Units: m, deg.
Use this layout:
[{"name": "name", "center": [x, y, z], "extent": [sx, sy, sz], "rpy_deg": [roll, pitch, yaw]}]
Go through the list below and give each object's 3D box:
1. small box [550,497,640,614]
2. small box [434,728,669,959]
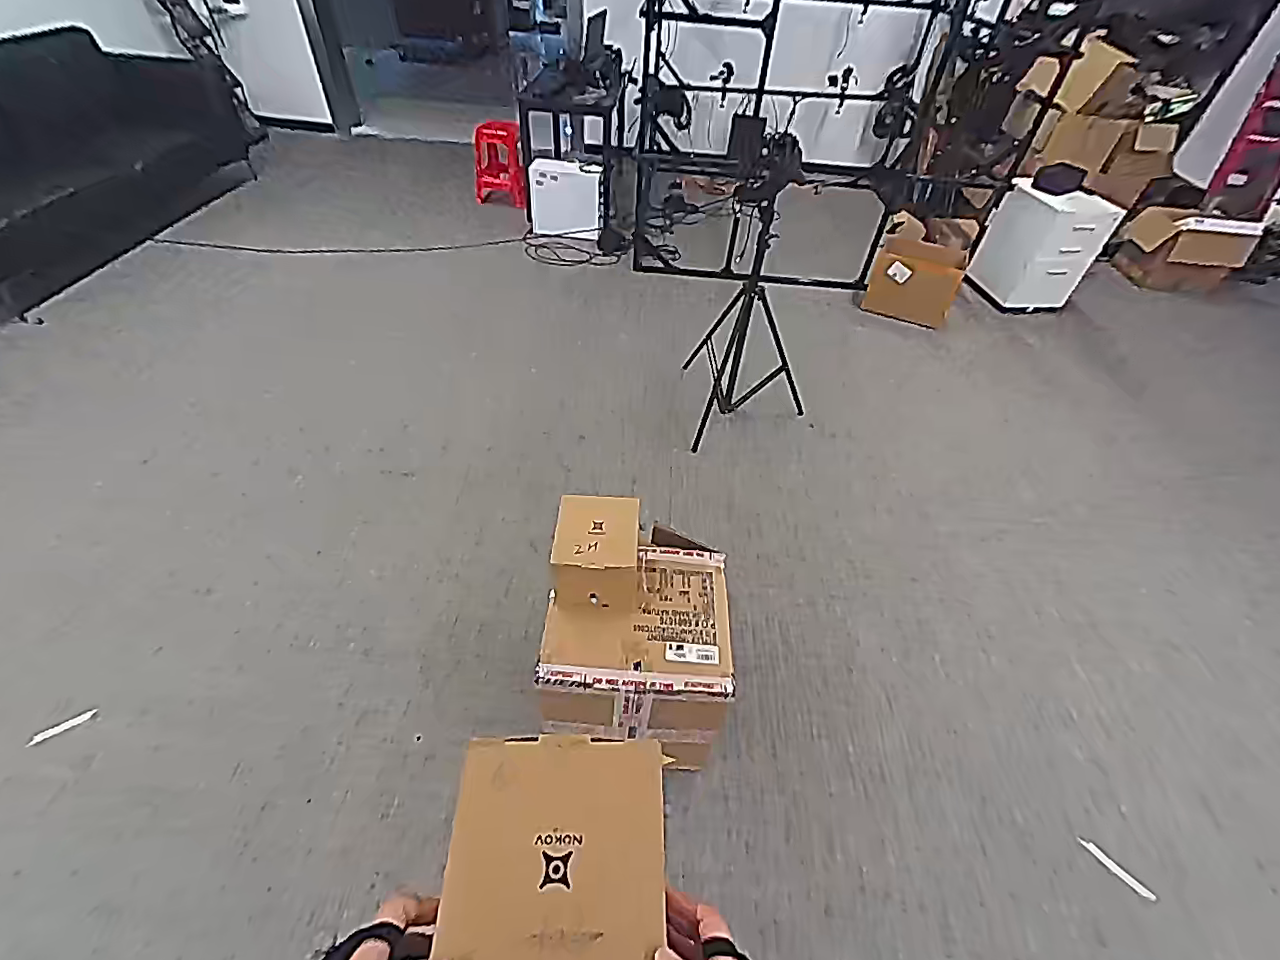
[{"name": "small box", "center": [-0.088, 0.158, 1.133], "extent": [0.168, 0.176, 0.179], "rpy_deg": [3, 48, 0]}, {"name": "small box", "center": [-0.066, 0.333, 0.476], "extent": [0.168, 0.176, 0.179], "rpy_deg": [1, 52, -3]}]
